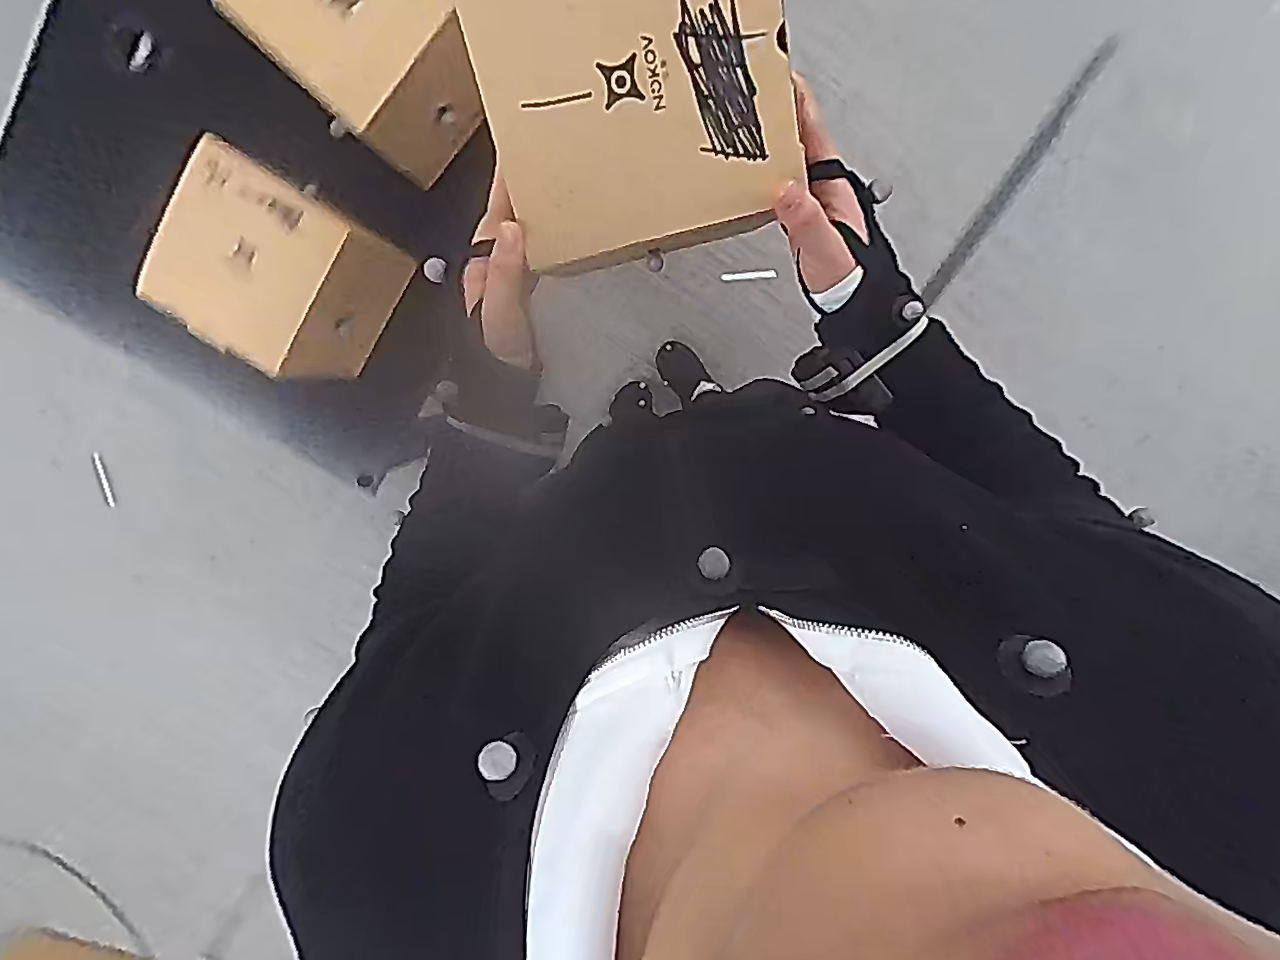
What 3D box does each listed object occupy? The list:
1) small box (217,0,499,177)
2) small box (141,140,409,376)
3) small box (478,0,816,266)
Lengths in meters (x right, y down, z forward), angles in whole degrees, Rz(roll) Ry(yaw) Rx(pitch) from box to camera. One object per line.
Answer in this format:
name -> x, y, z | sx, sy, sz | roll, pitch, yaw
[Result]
small box -> -0.280, -0.465, 0.585 | 0.179, 0.176, 0.168 | 42, 98, -6
small box -> -0.404, -0.238, 0.631 | 0.168, 0.176, 0.179 | 32, 100, -5
small box -> 0.007, -0.253, 0.378 | 0.179, 0.176, 0.168 | -10, 109, 5
